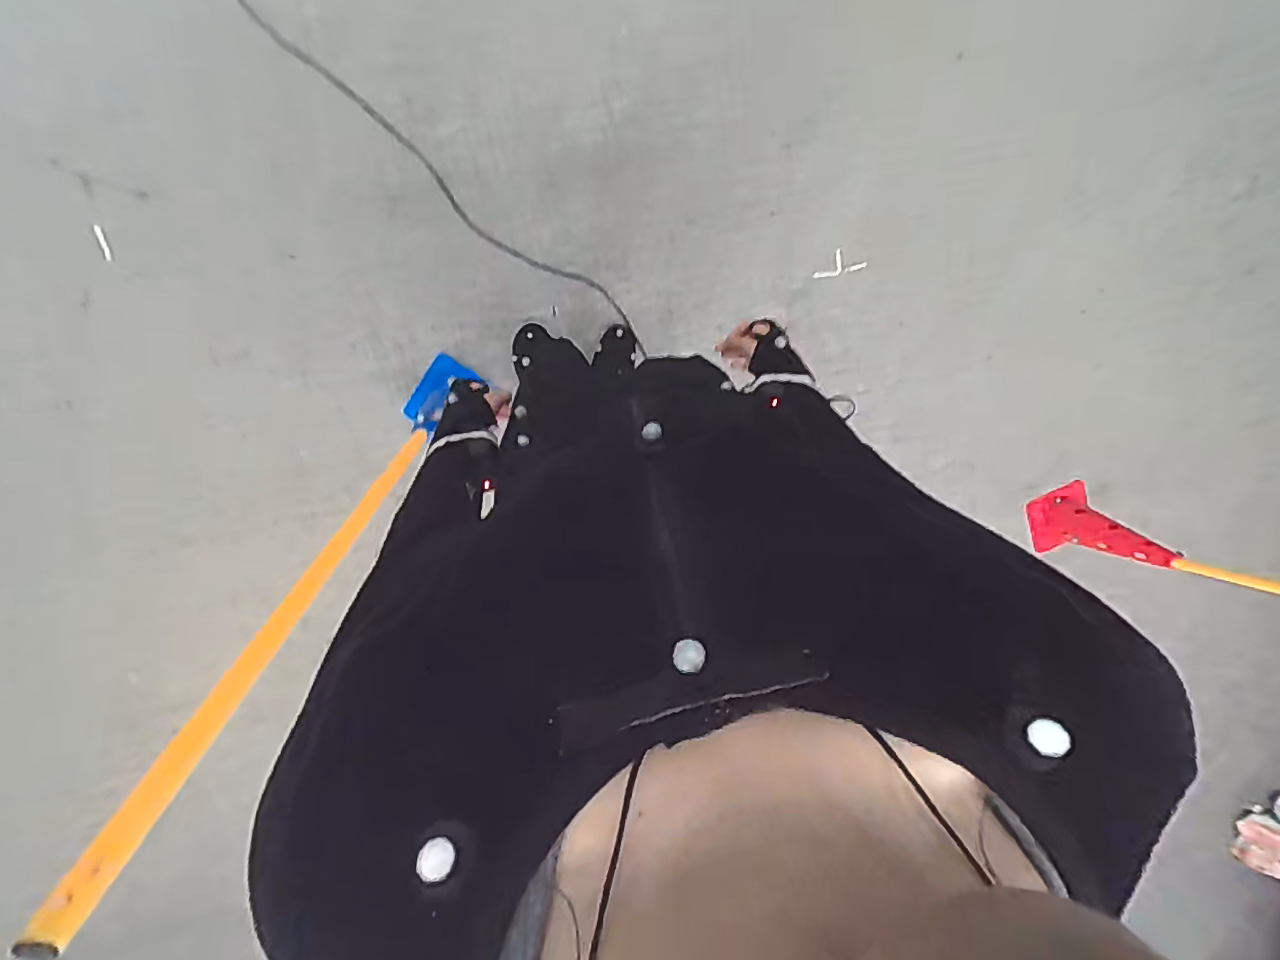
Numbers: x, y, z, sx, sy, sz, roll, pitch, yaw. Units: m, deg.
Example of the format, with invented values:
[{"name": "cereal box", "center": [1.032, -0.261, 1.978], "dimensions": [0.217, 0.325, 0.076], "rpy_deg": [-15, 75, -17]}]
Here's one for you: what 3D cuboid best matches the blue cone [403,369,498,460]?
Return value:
[{"name": "blue cone", "center": [-0.458, -0.111, 1.231], "dimensions": [0.192, 0.380, 0.193], "rpy_deg": [32, 102, -16]}]
